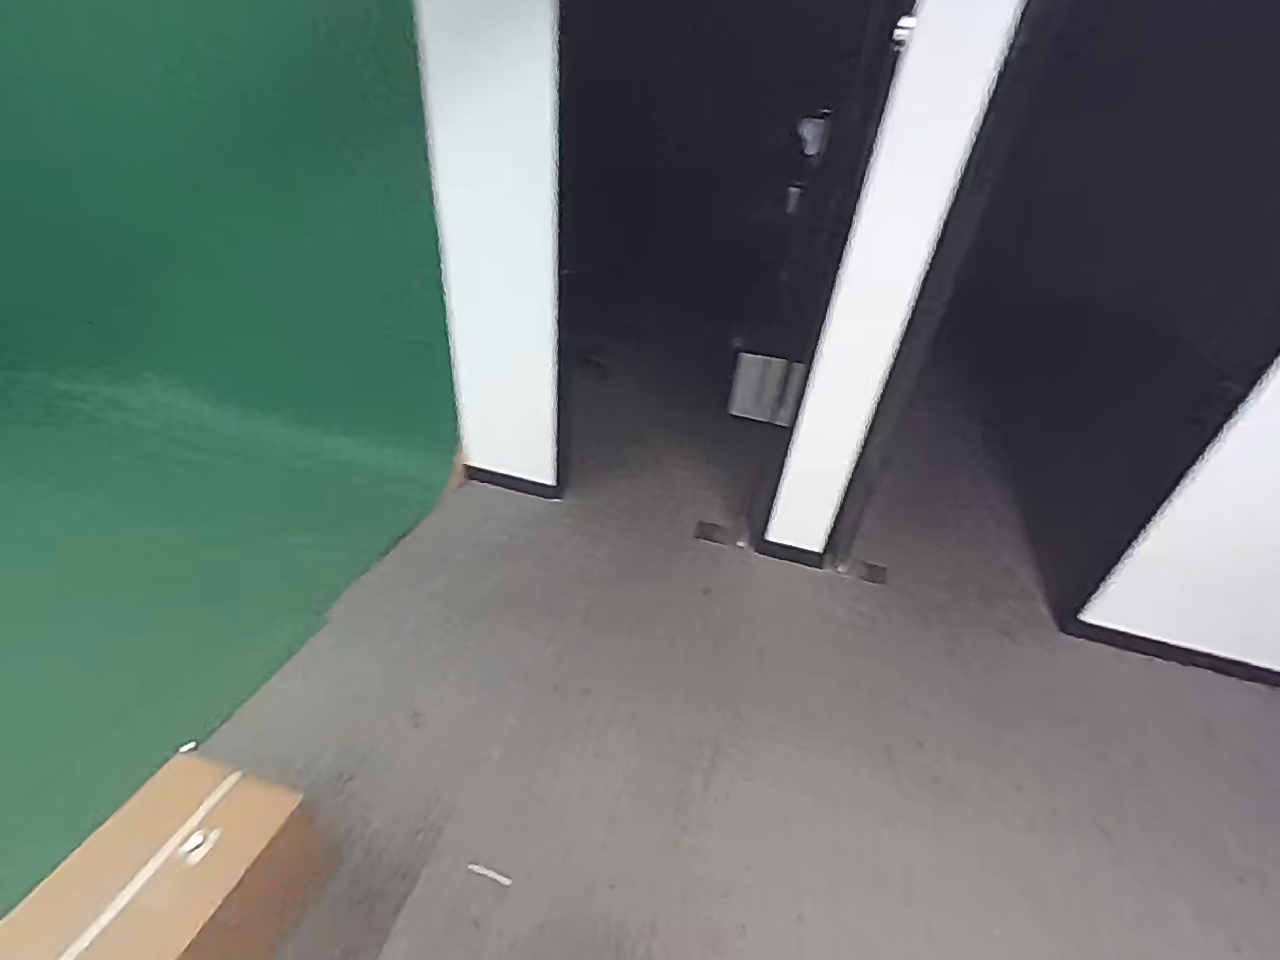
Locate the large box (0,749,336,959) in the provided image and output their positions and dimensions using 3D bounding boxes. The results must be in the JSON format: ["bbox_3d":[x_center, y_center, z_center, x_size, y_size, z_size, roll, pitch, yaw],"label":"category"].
[{"bbox_3d":[-0.890,0.833,1.051,0.320,0.320,0.408,13,33,11],"label":"large box"}]
